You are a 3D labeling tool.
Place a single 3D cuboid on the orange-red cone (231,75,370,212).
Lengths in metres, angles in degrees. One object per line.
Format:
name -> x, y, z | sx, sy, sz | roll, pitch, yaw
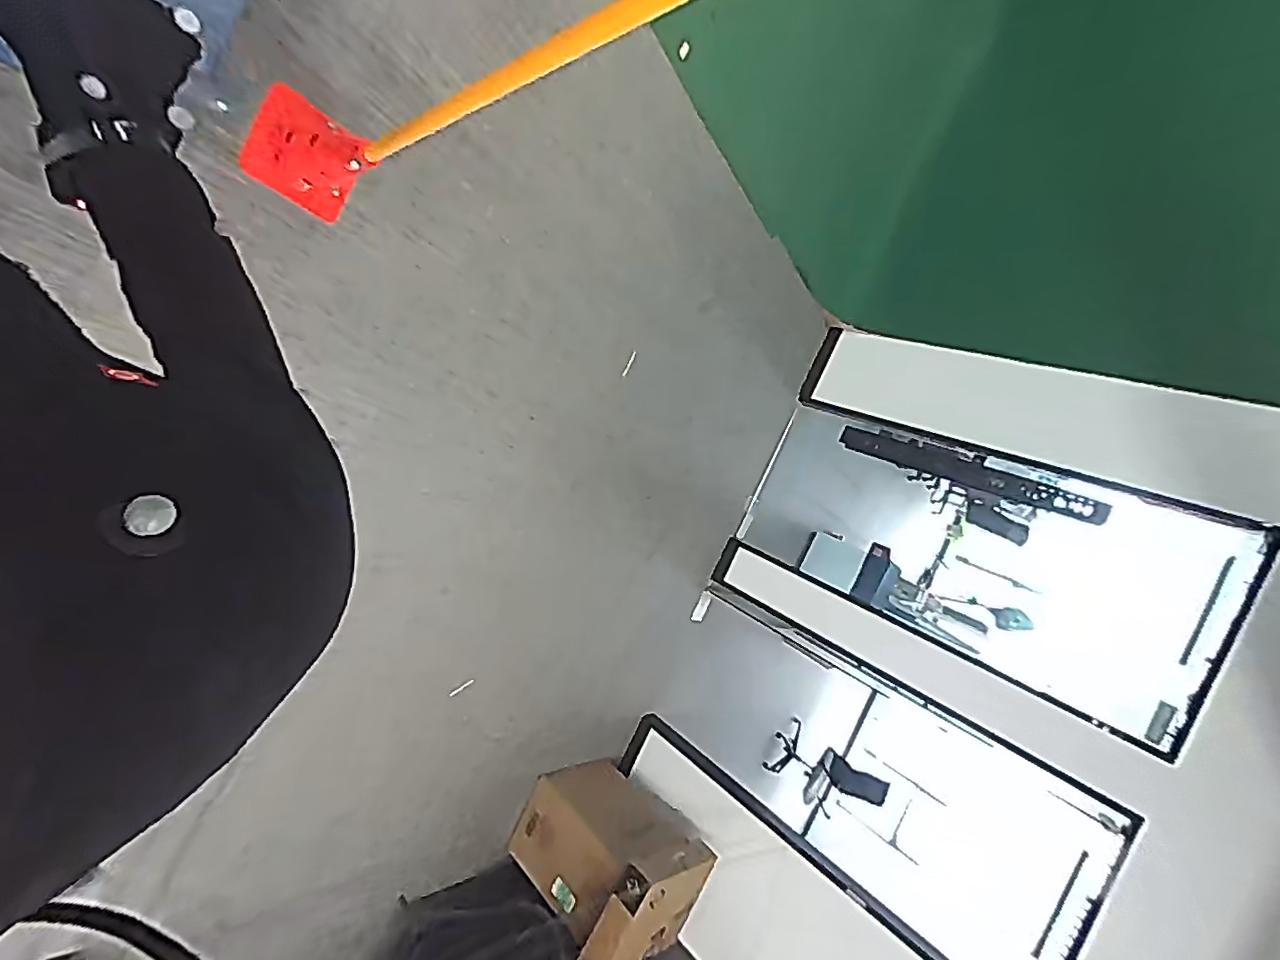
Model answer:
orange-red cone -> -0.623, -0.664, 1.067 | 0.199, 0.360, 0.198 | 27, 89, -51
